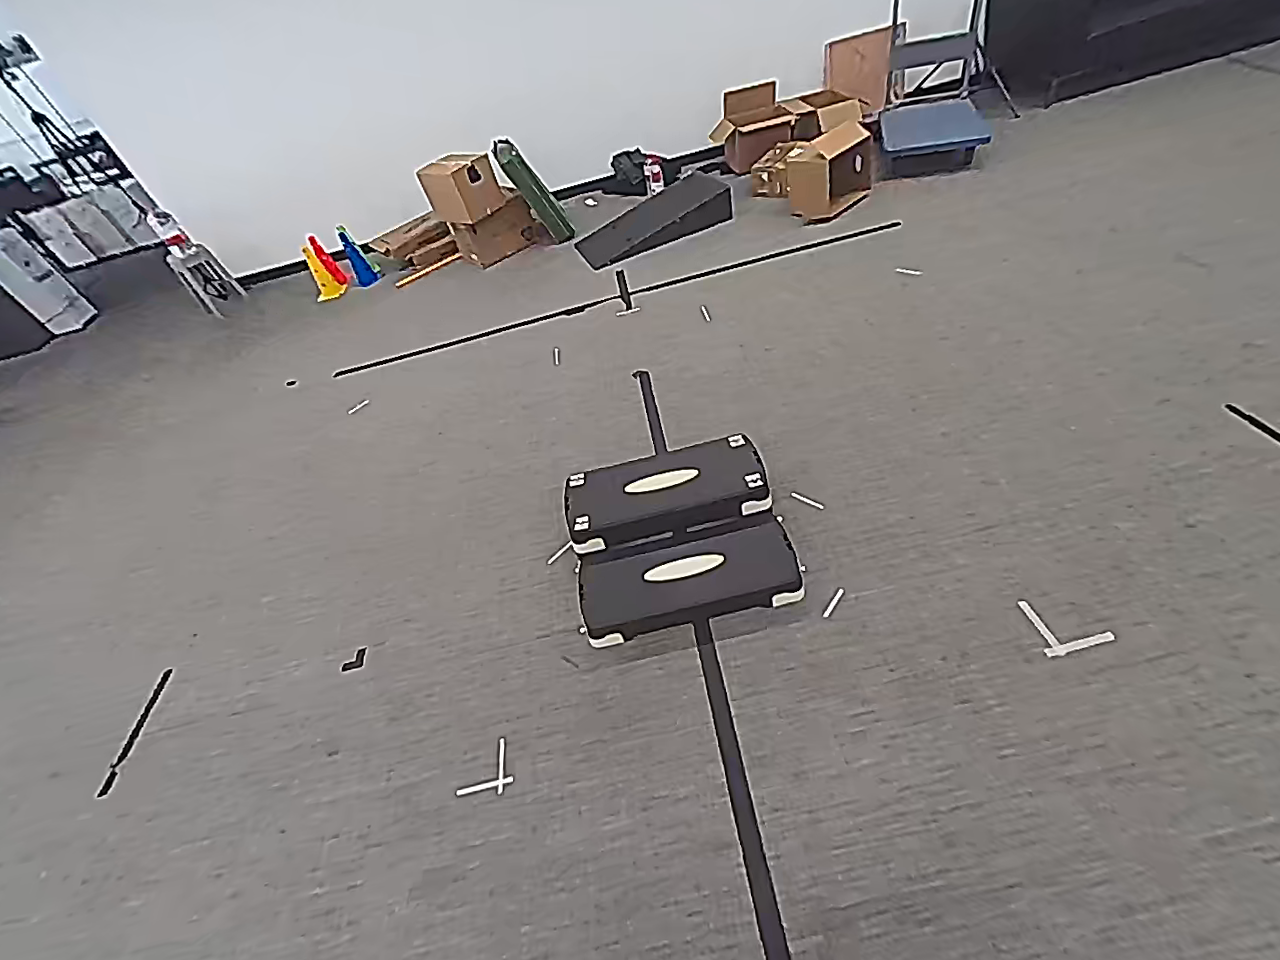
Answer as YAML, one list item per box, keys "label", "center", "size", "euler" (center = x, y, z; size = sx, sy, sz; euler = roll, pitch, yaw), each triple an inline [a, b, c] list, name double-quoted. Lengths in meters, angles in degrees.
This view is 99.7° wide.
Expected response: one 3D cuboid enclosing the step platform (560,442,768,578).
- label: "step platform"
  center: [0.075, 0.094, 1.821]
  size: [0.684, 0.204, 0.286]
  euler: [-14, 45, 1]
